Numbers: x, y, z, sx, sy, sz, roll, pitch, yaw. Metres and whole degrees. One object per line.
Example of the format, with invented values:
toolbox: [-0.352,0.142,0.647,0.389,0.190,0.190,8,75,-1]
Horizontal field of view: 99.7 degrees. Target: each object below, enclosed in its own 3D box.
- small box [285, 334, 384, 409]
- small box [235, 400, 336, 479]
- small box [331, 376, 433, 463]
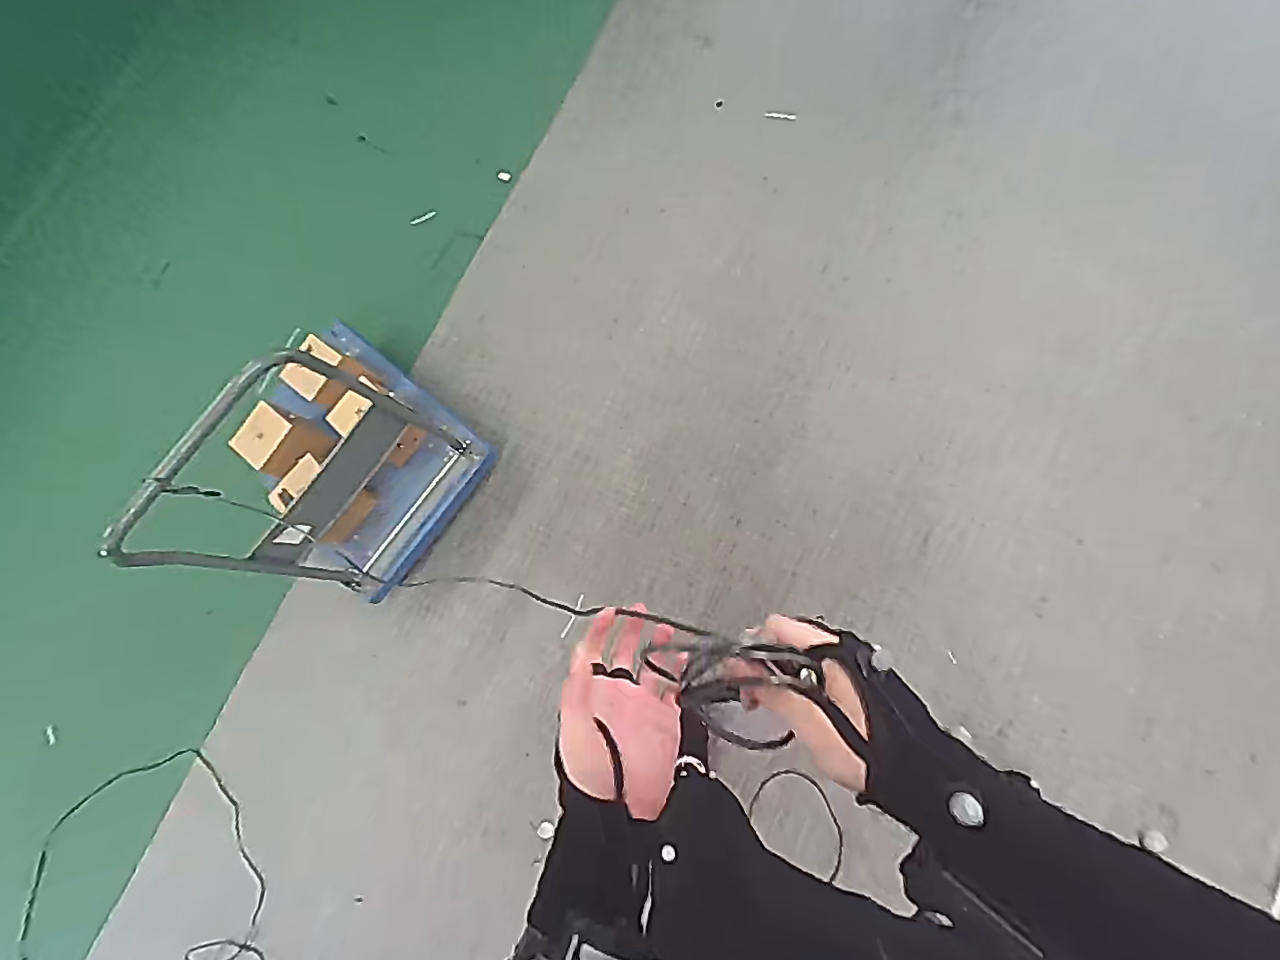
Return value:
small box: [-0.961,-0.325,1.710,0.179,0.176,0.168,34,87,22]
small box: [-1.103,-0.118,1.696,0.179,0.176,0.168,33,86,23]
small box: [-0.762,-0.173,1.607,0.179,0.176,0.168,38,88,22]
